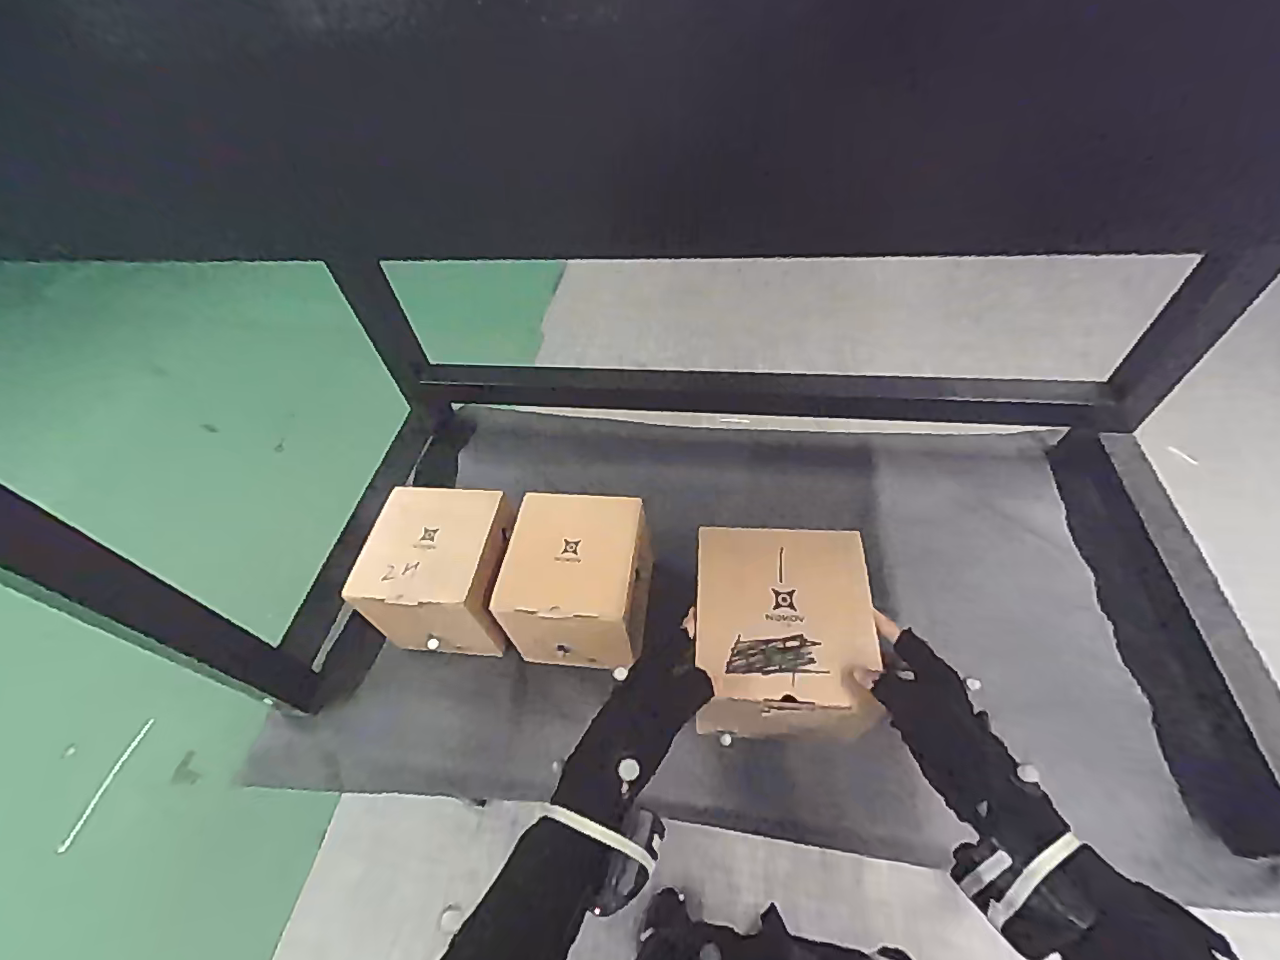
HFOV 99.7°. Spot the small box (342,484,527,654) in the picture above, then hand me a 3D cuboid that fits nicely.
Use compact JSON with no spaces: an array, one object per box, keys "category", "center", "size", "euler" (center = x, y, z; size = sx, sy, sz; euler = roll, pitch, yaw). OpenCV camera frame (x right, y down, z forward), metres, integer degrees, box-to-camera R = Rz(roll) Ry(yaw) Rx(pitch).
[{"category":"small box","center":[-0.272,0.127,0.769],"size":[0.168,0.176,0.179],"euler":[2,52,9]}]

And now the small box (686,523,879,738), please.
[{"category":"small box","center":[0.138,0.164,0.577],"size":[0.168,0.176,0.179],"euler":[1,54,7]}]
